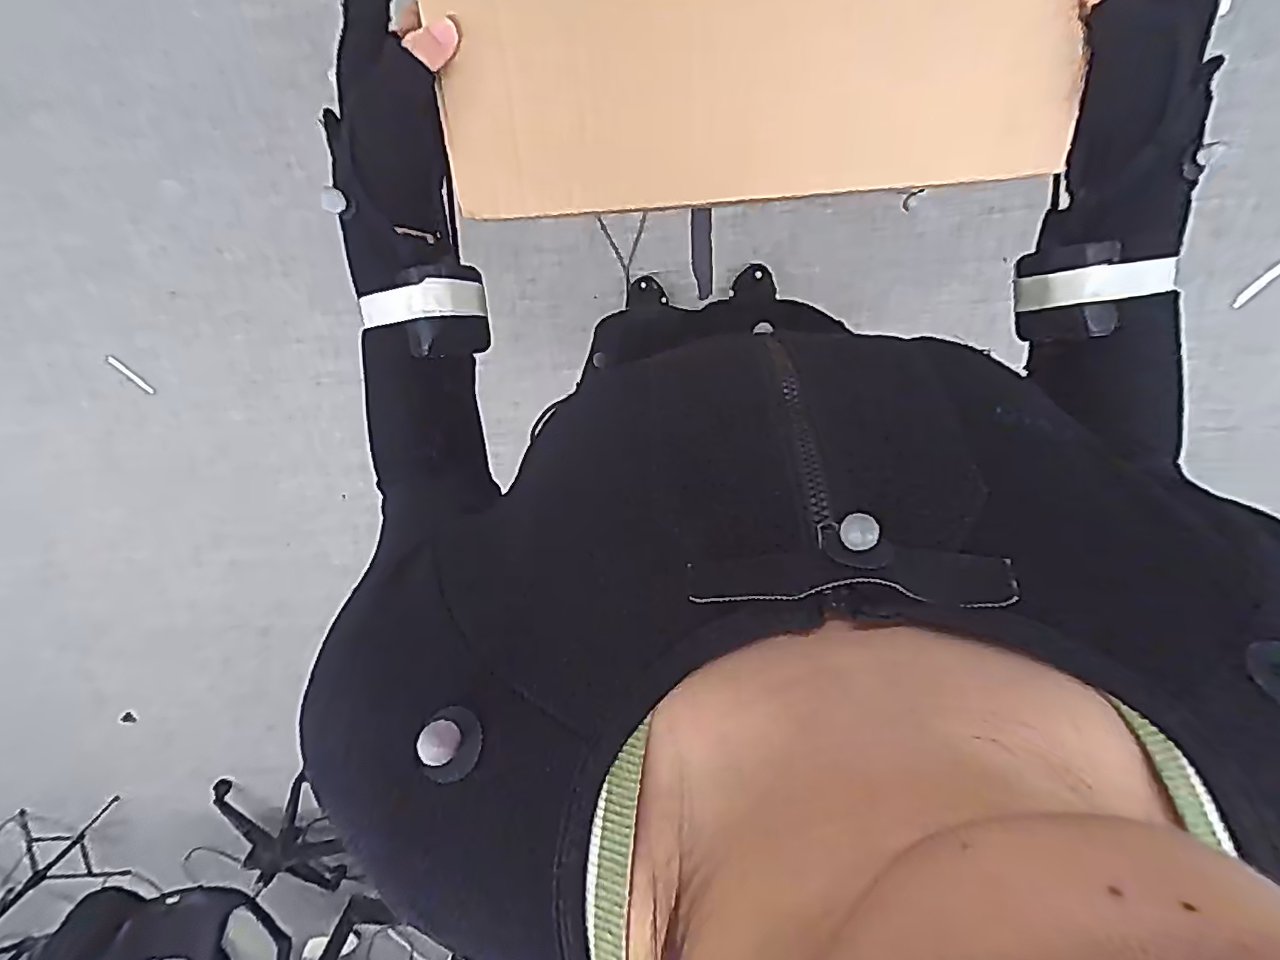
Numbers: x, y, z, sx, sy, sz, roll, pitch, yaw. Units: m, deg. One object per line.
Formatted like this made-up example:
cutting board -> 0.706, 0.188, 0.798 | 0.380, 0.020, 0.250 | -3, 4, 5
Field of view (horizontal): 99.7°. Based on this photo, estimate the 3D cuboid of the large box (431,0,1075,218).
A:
large box -> 0.070, -0.408, 0.443 | 0.408, 0.320, 0.320 | -3, 117, 4
